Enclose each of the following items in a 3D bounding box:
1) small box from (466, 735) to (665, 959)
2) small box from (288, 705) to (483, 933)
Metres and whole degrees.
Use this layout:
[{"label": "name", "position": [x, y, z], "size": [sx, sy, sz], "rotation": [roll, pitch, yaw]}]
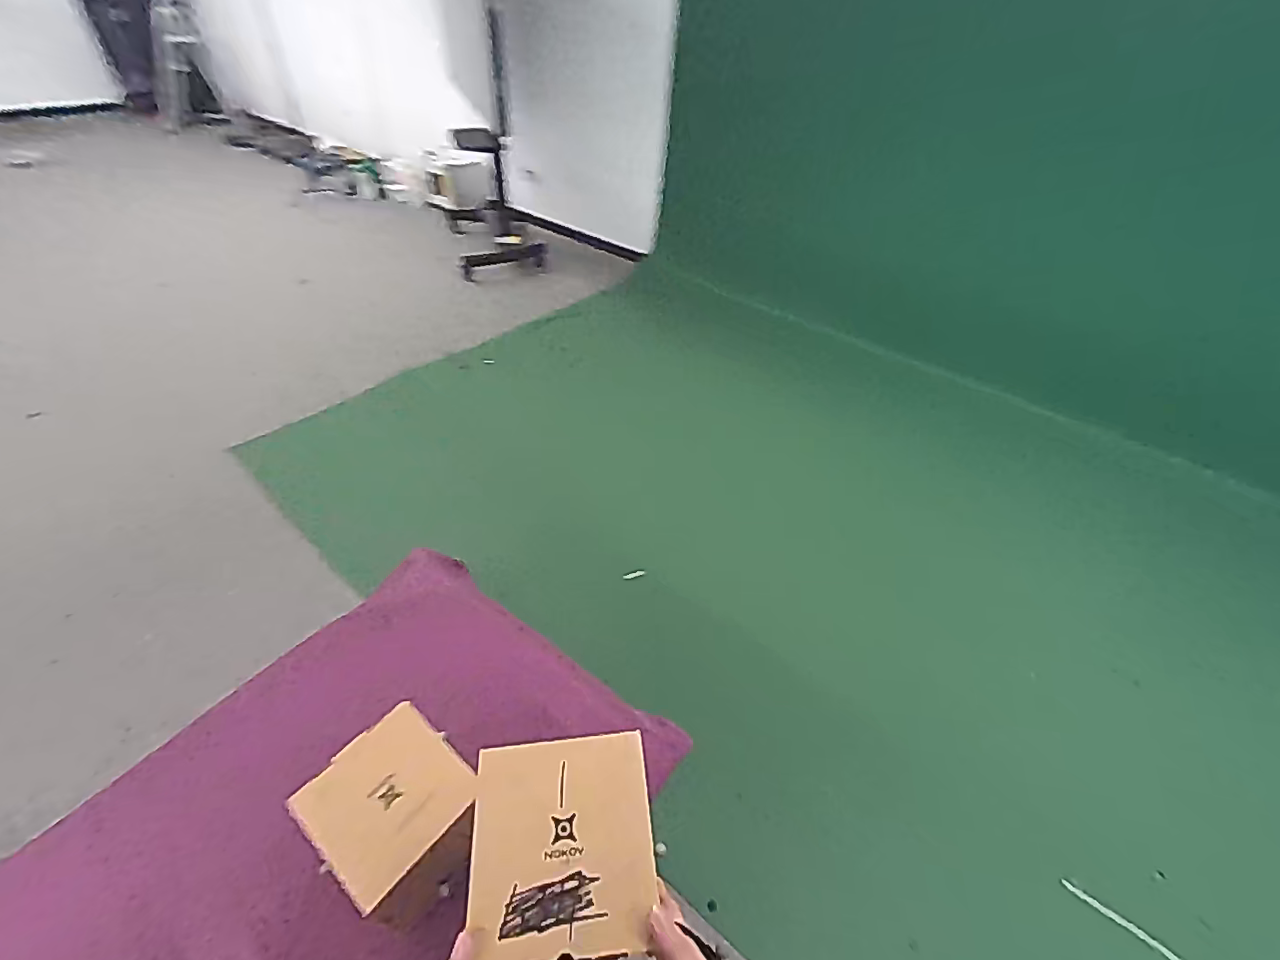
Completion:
[{"label": "small box", "position": [-0.064, 0.381, 0.546], "size": [0.168, 0.176, 0.179], "rotation": [-4, 47, -3]}, {"label": "small box", "position": [-0.311, 0.445, 0.709], "size": [0.179, 0.176, 0.168], "rotation": [30, 50, 26]}]
